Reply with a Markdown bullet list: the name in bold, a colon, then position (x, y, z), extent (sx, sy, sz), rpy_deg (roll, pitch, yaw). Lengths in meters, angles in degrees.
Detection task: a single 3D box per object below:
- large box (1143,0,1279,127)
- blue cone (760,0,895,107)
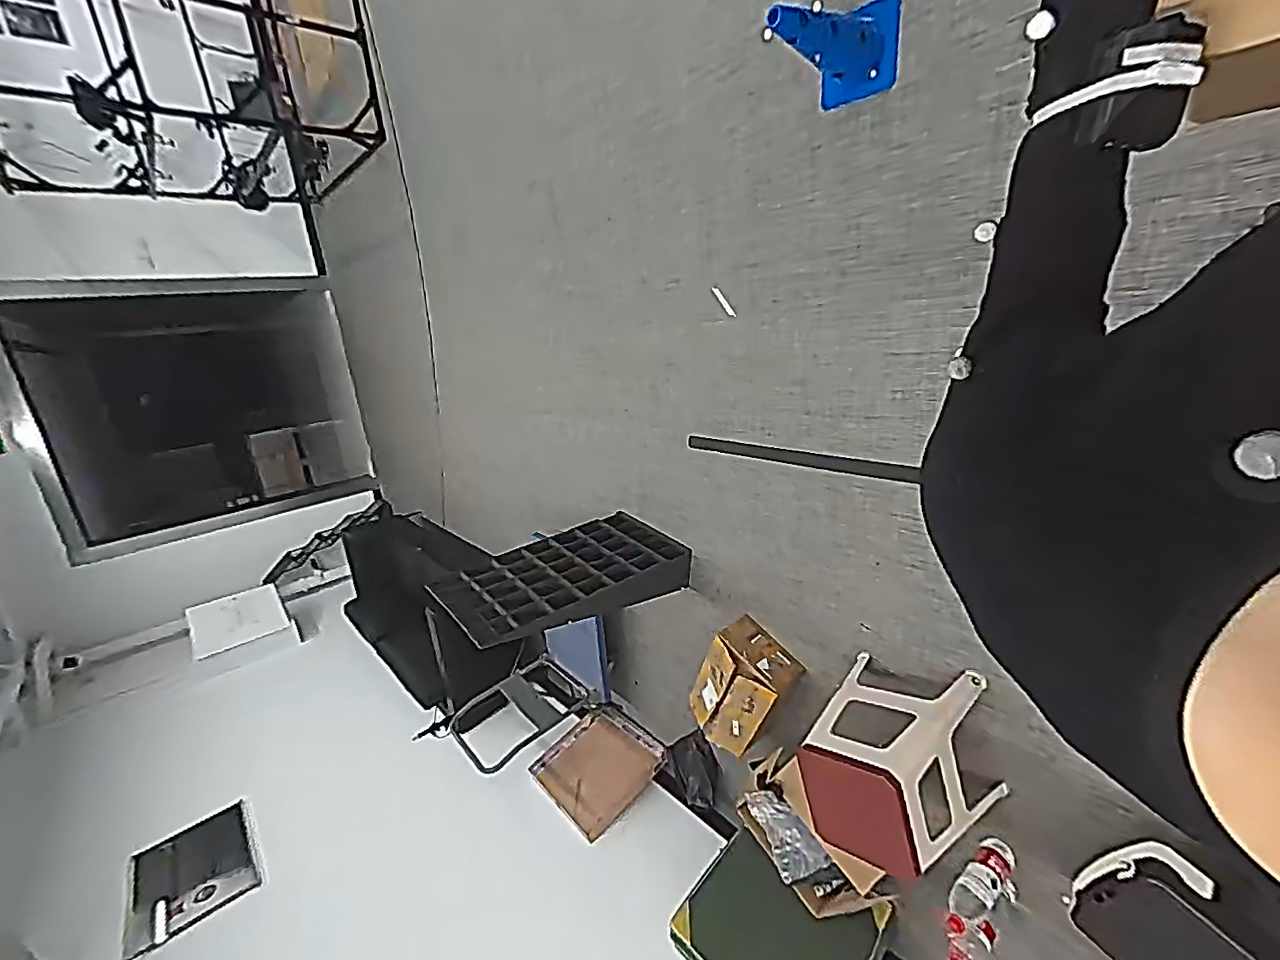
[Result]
- **large box**: position (0.567, -0.435, 0.277), extent (0.408, 0.320, 0.320), rpy_deg (13, 117, 47)
- **blue cone**: position (0.420, -1.031, 1.265), extent (0.192, 0.380, 0.193), rpy_deg (19, 119, 47)
